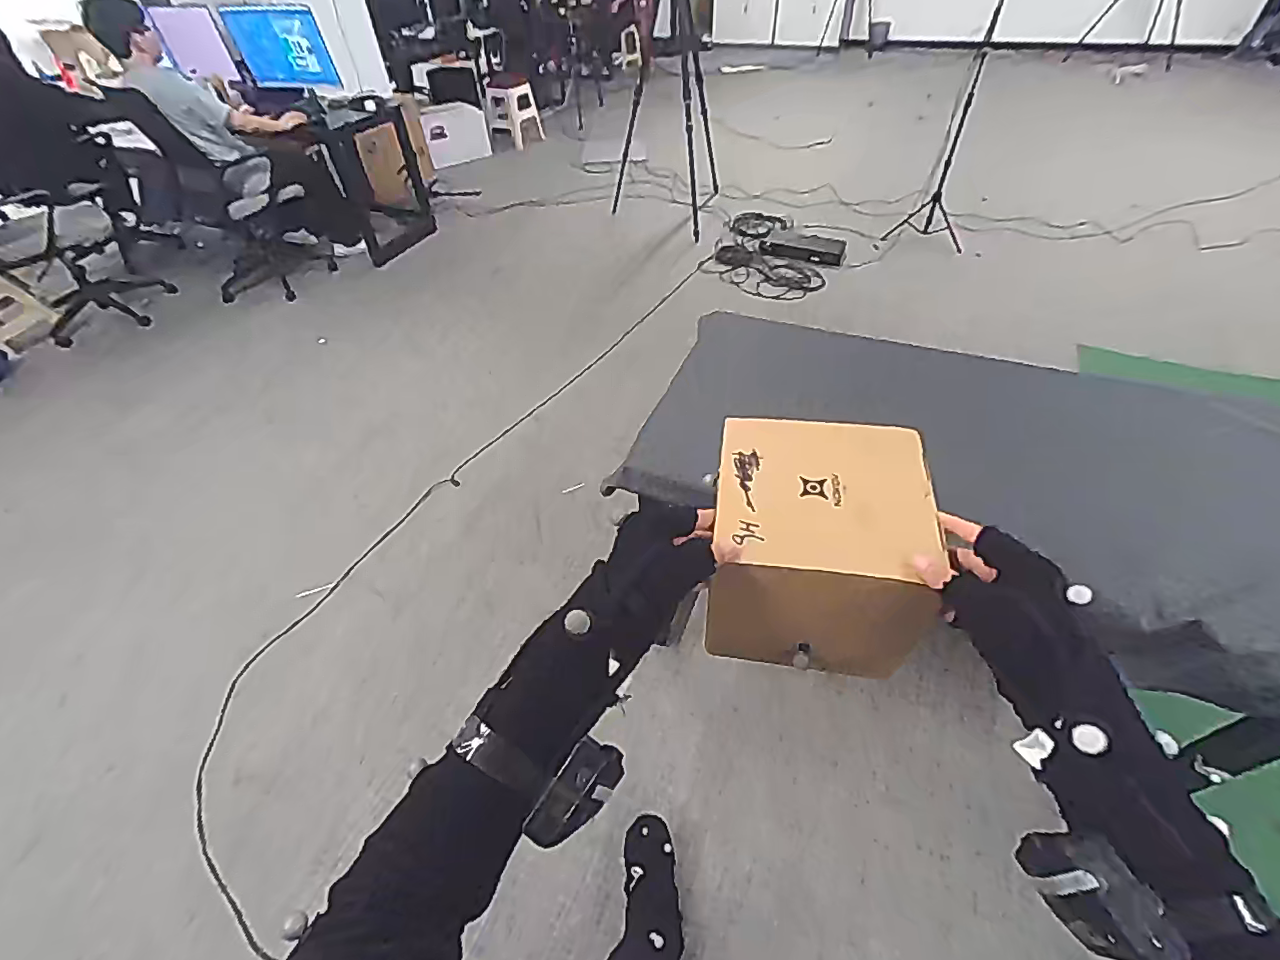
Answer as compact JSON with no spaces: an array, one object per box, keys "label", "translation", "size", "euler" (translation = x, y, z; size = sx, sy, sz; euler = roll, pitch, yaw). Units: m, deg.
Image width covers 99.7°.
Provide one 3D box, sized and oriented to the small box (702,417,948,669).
[{"label":"small box","translation":[0.158,0.063,0.516],"size":[0.179,0.176,0.168],"euler":[6,48,9]}]
